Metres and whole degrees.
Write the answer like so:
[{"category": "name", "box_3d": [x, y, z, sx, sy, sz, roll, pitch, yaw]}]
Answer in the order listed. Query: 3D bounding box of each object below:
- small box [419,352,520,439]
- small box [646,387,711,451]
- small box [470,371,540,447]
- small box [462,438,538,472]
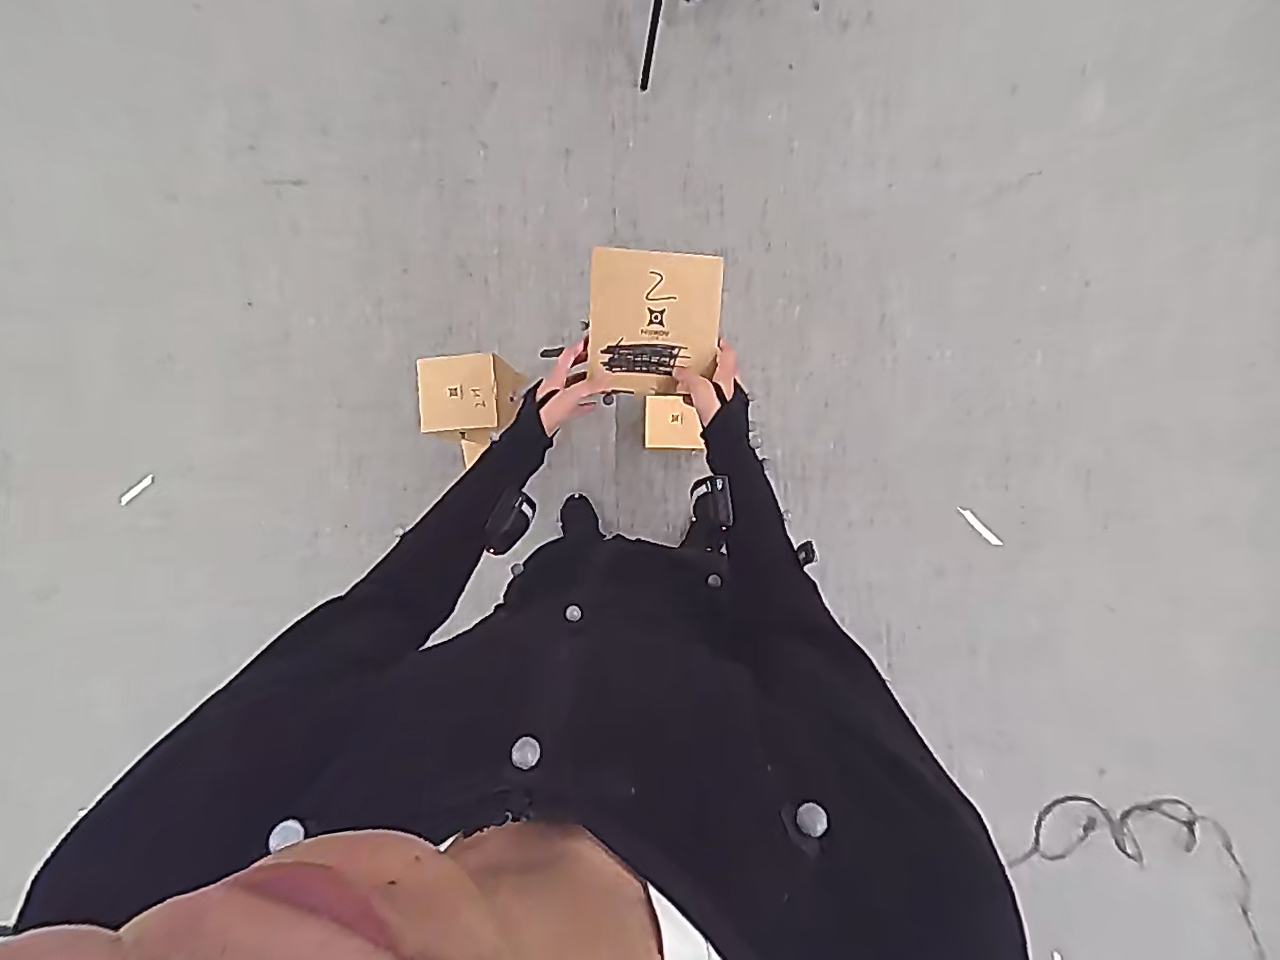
[{"category": "small box", "box_3d": [-0.388, -0.189, 1.251, 0.179, 0.176, 0.168, -4, 88, 3]}, {"category": "small box", "box_3d": [0.109, -0.170, 1.557, 0.179, 0.176, 0.168, 1, 89, 1]}, {"category": "small box", "box_3d": [-0.365, -0.186, 1.414, 0.168, 0.176, 0.179, 4, 89, 4]}, {"category": "small box", "box_3d": [-0.409, -0.123, 1.578, 0.168, 0.176, 0.179, -11, 89, 3]}]
